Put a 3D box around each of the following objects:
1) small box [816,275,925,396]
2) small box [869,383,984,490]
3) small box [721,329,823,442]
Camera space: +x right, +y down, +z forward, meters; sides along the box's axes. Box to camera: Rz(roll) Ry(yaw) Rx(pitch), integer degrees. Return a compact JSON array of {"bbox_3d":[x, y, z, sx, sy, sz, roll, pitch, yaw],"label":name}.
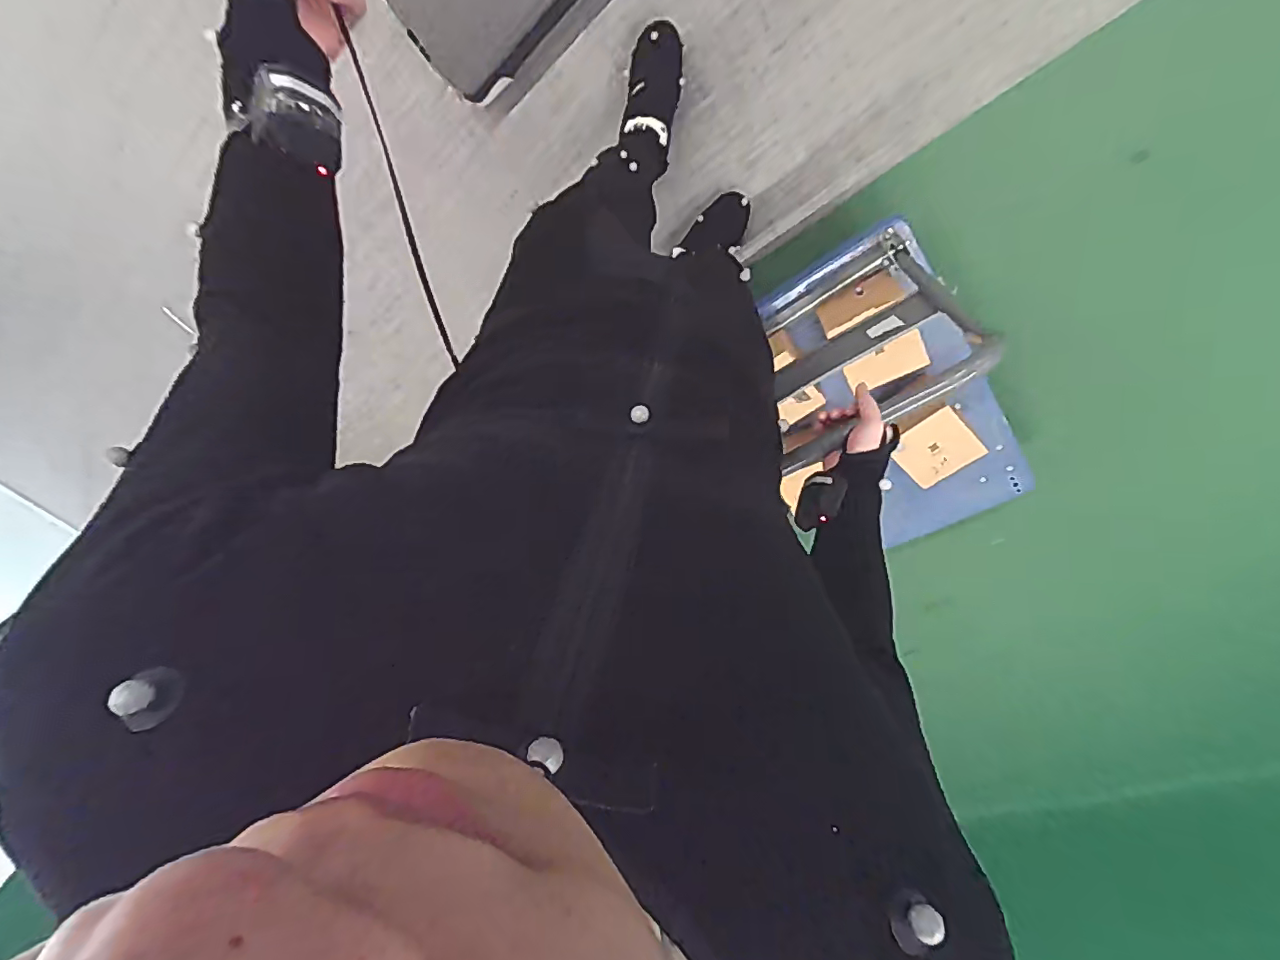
[{"bbox_3d":[0.508,-0.324,1.206,0.168,0.176,0.179,-23,119,24],"label":"small box"},{"bbox_3d":[0.693,-0.116,1.330,0.179,0.176,0.168,39,123,-19],"label":"small box"},{"bbox_3d":[0.311,-0.232,1.300,0.179,0.176,0.168,-33,115,29],"label":"small box"}]
